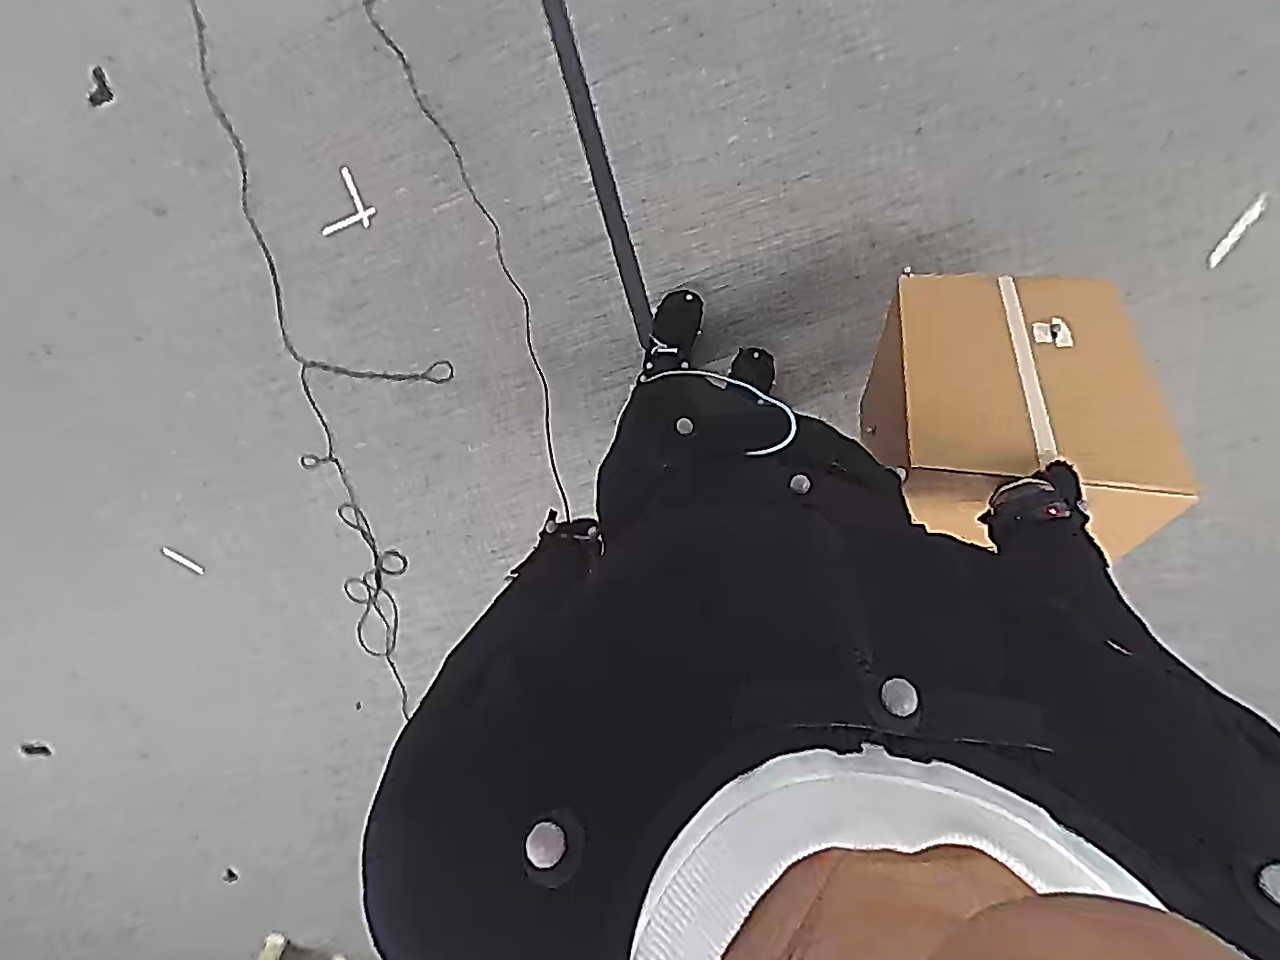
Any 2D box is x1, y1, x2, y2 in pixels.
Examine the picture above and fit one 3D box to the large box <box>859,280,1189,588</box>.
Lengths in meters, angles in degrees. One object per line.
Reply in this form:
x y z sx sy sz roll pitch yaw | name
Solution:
0.558 -0.075 0.897 0.320 0.408 0.320 6 145 12 | large box
